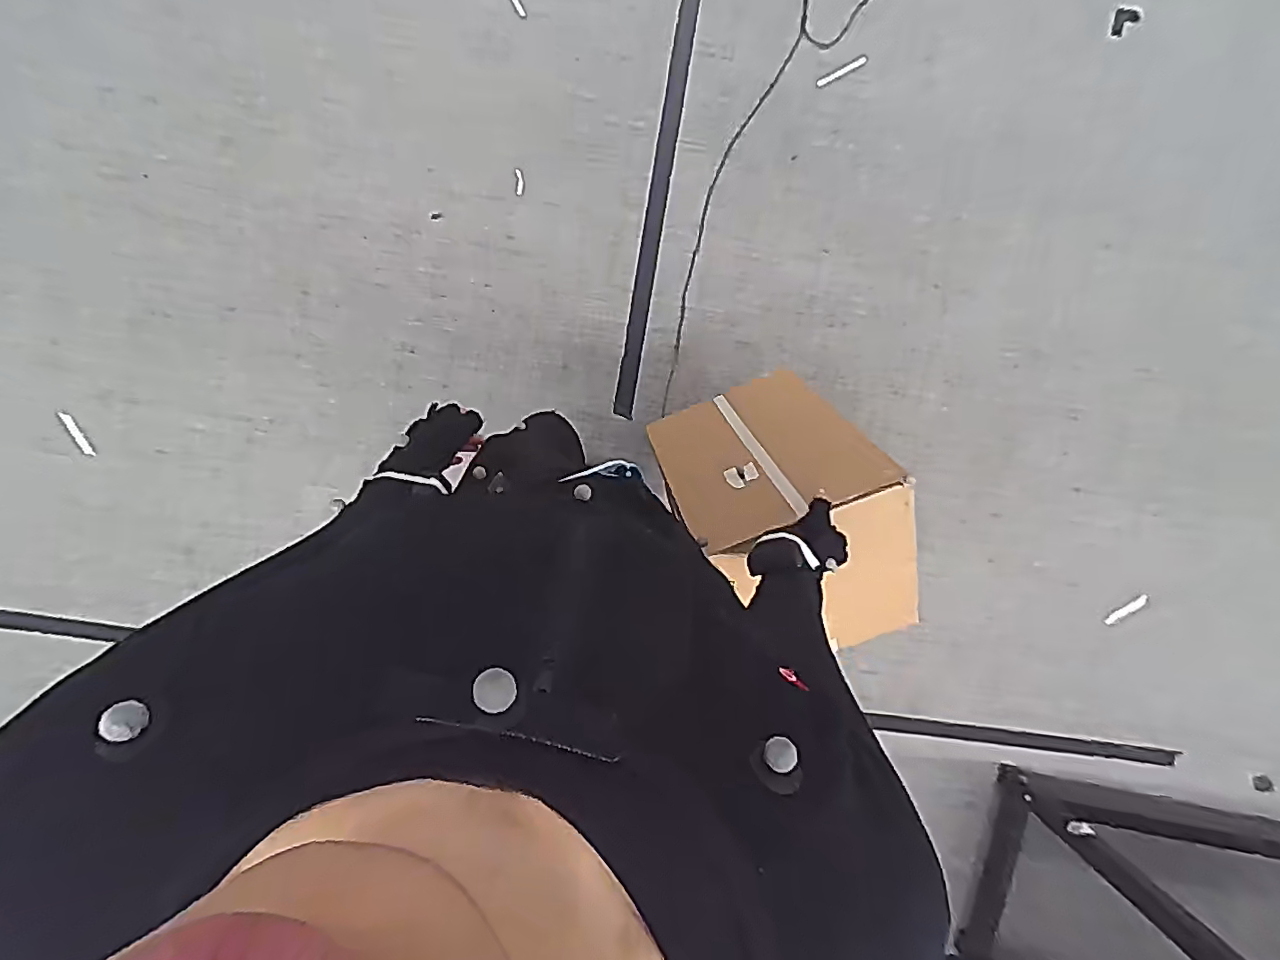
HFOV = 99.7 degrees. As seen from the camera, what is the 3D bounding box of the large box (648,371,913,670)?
[{"bbox_3d":[0.240,0.056,0.995,0.320,0.408,0.320,-22,126,2],"label":"large box"}]
